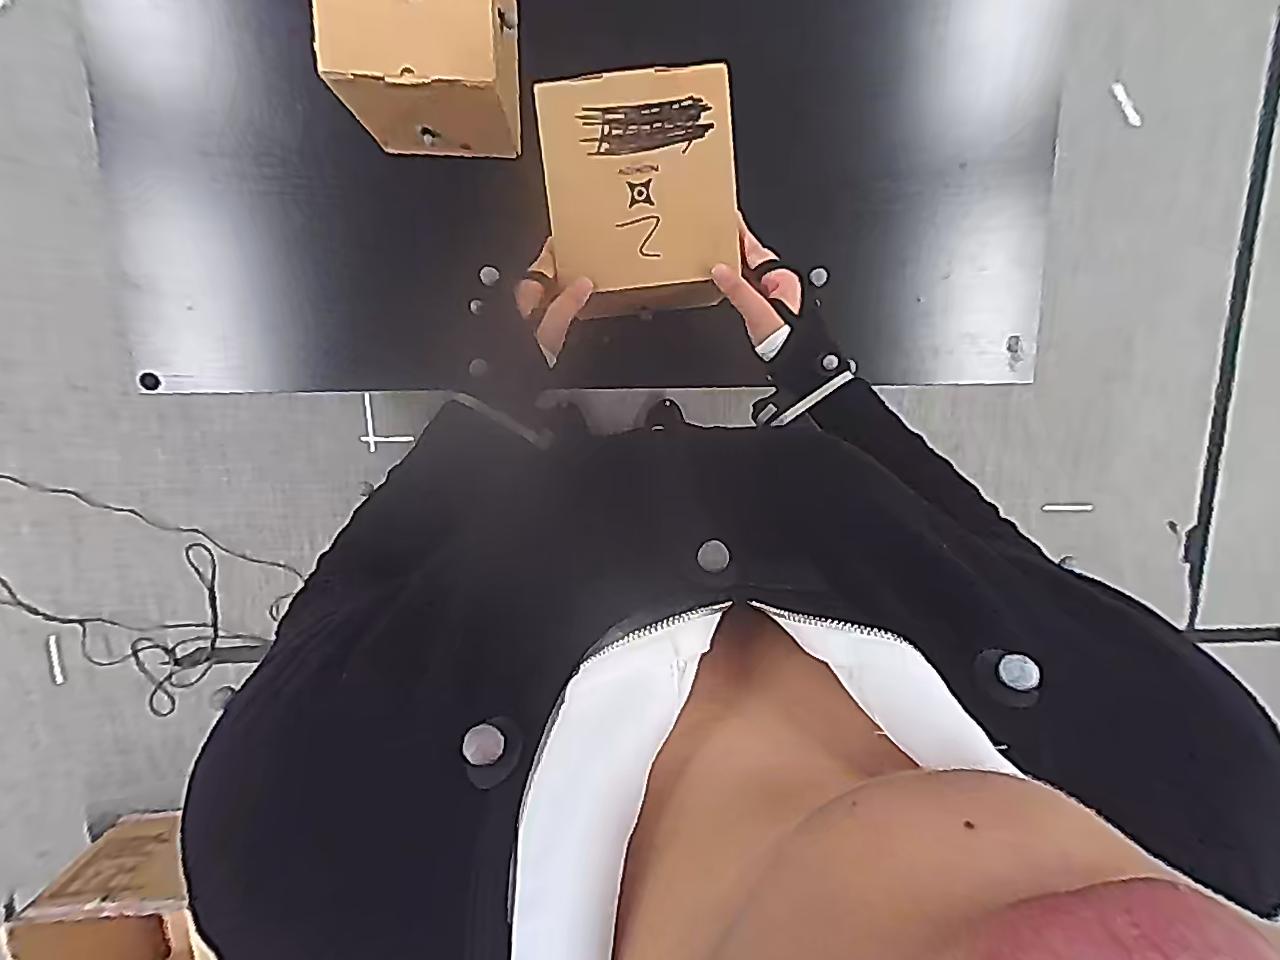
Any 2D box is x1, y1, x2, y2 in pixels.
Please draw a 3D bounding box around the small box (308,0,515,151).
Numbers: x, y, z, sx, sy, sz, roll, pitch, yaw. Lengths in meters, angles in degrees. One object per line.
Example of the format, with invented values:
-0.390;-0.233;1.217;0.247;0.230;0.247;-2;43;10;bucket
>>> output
-0.230;-0.486;0.578;0.168;0.176;0.179;0;100;-5;small box
